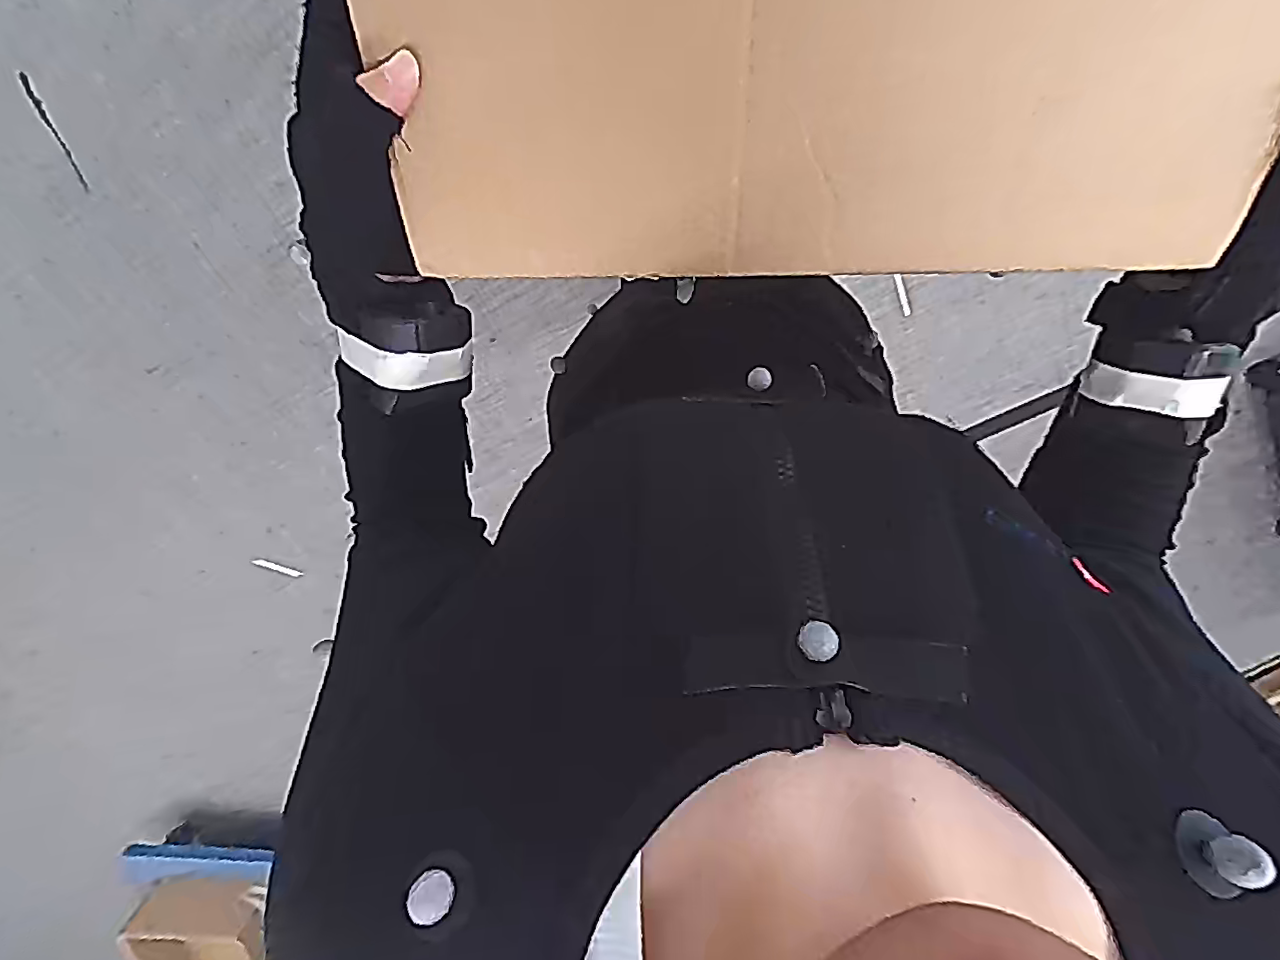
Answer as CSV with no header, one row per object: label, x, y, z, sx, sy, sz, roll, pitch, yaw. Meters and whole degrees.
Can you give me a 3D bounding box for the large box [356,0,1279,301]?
large box,0.082,-0.315,0.328,0.408,0.320,0.320,-1,124,3
